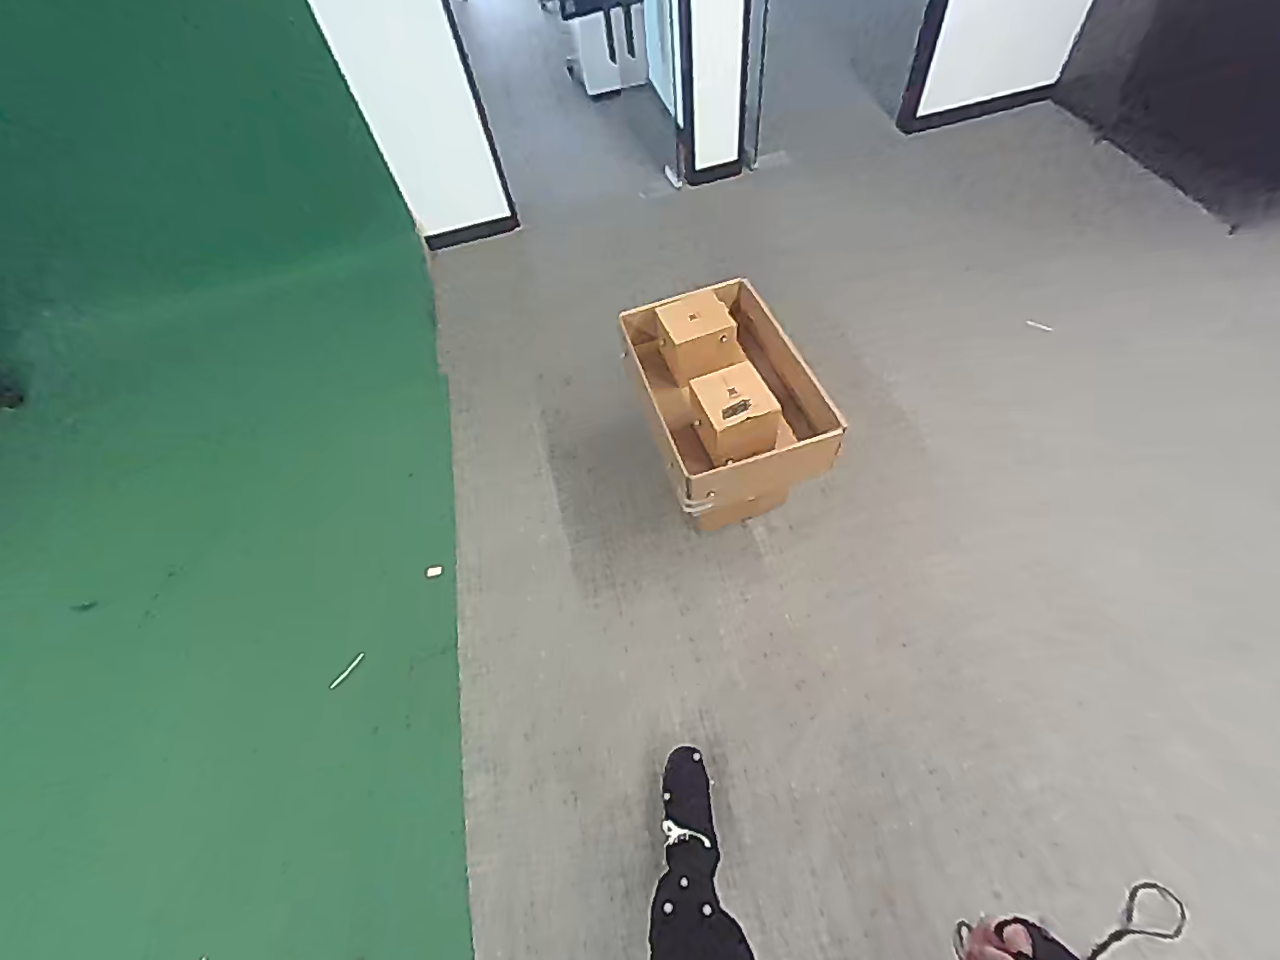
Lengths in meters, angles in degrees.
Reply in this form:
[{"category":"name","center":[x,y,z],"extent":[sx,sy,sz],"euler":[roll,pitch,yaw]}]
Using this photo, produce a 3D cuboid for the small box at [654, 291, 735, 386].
[{"category":"small box","center":[0.155,-0.394,1.526],"extent":[0.179,0.176,0.168],"euler":[-20,56,-6]}]
